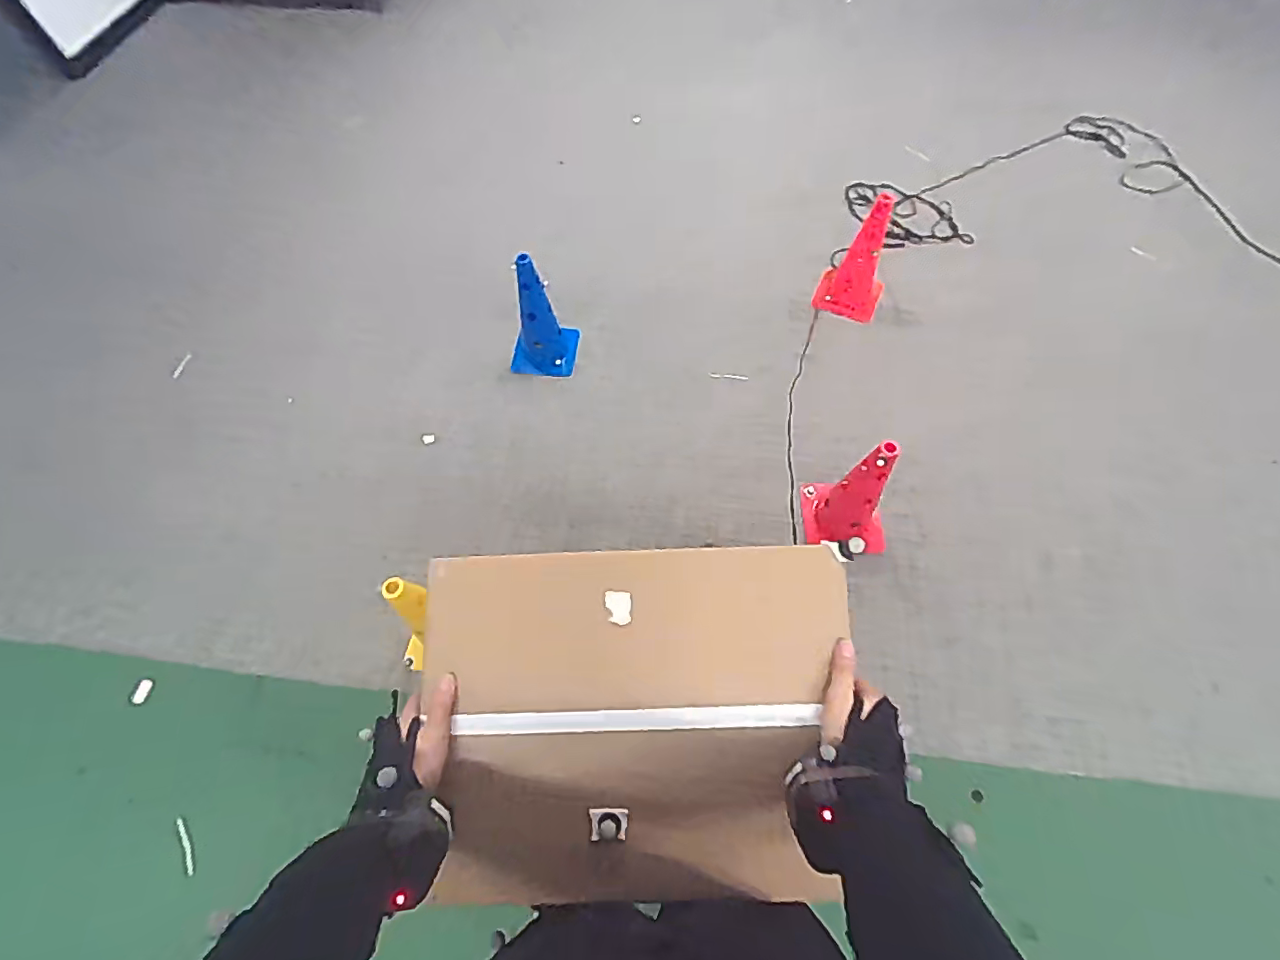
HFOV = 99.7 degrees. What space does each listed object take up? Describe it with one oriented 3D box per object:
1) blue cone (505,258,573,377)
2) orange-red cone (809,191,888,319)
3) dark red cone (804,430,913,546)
[{"bbox_3d":[-0.324,-0.487,1.595,0.192,0.380,0.193,5,61,6],"label":"blue cone"},{"bbox_3d":[0.678,-0.707,1.654,0.199,0.360,0.198,23,65,13],"label":"orange-red cone"},{"bbox_3d":[0.521,0.000,1.239,0.202,0.394,0.201,-2,63,1],"label":"dark red cone"}]
